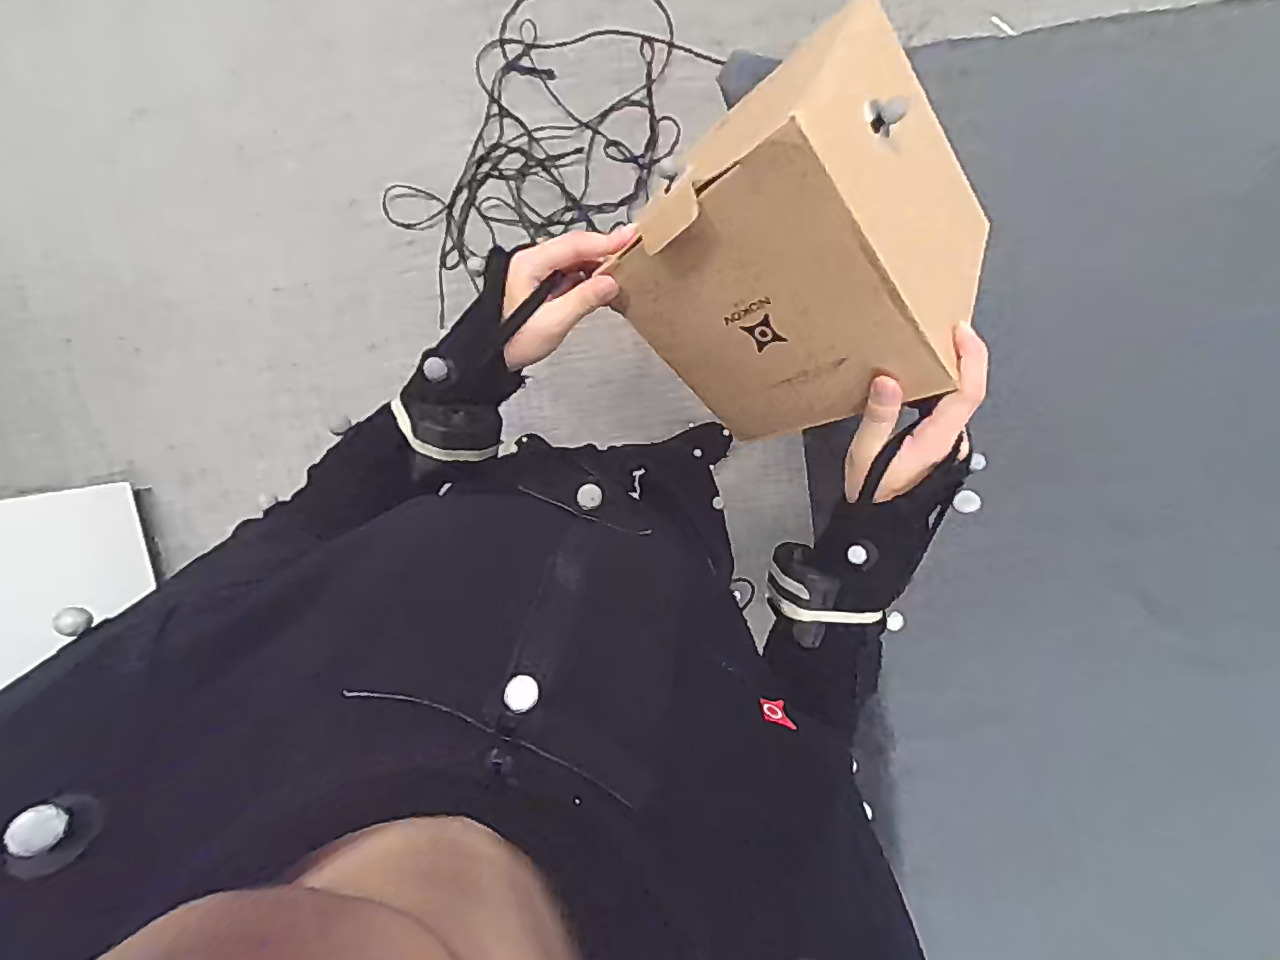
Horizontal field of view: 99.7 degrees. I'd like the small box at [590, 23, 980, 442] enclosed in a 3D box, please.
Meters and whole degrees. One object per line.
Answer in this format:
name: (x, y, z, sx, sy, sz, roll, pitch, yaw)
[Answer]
small box: (0.104, -0.157, 0.370, 0.179, 0.168, 0.176, 39, 61, -25)
